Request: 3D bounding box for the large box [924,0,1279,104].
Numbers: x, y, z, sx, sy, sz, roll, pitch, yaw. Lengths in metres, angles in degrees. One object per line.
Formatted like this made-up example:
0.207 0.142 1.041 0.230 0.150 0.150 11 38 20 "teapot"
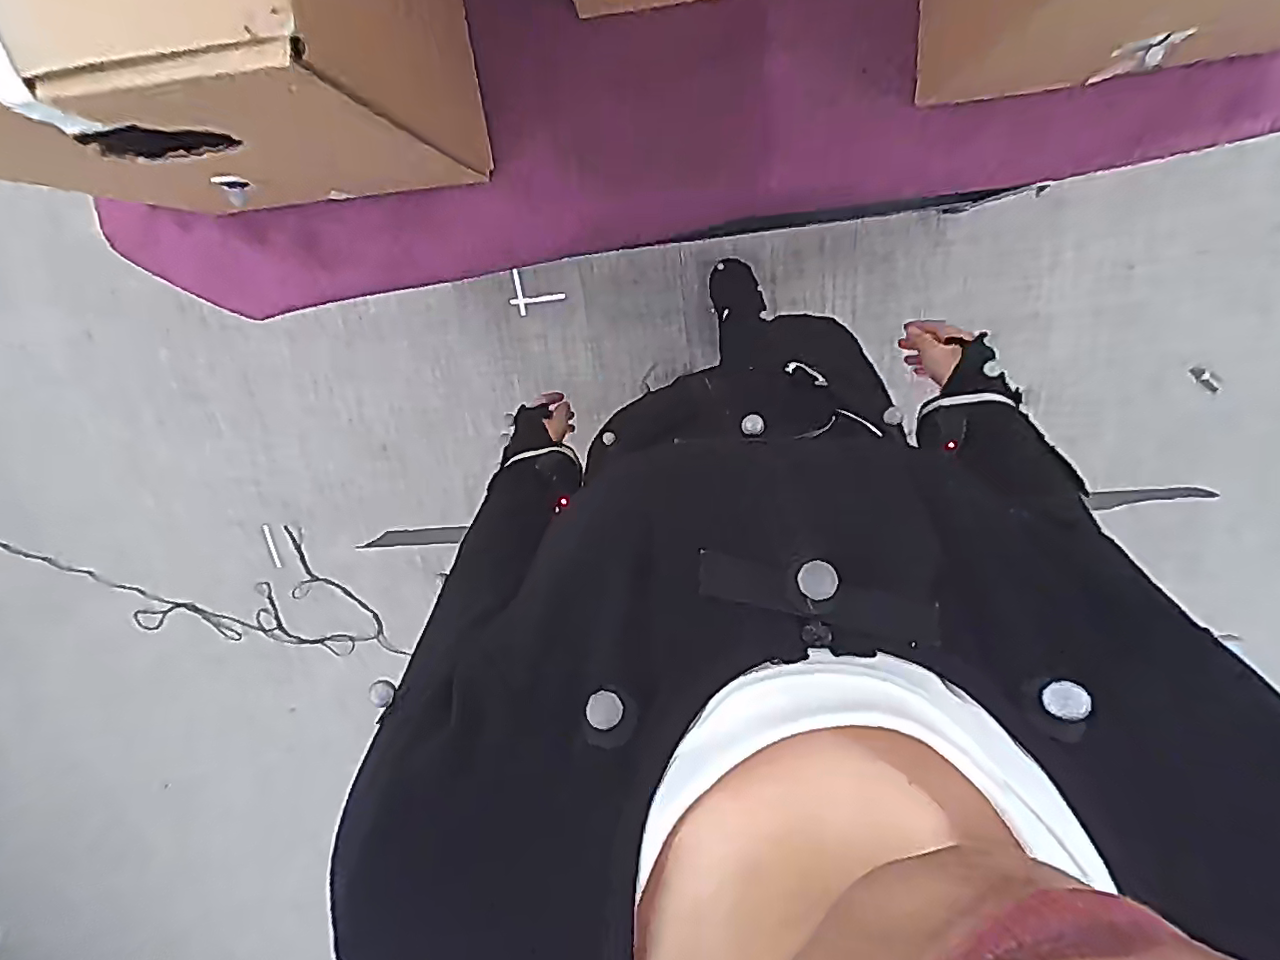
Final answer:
0.365 -0.496 0.275 0.320 0.320 0.408 -5 107 6 "large box"
